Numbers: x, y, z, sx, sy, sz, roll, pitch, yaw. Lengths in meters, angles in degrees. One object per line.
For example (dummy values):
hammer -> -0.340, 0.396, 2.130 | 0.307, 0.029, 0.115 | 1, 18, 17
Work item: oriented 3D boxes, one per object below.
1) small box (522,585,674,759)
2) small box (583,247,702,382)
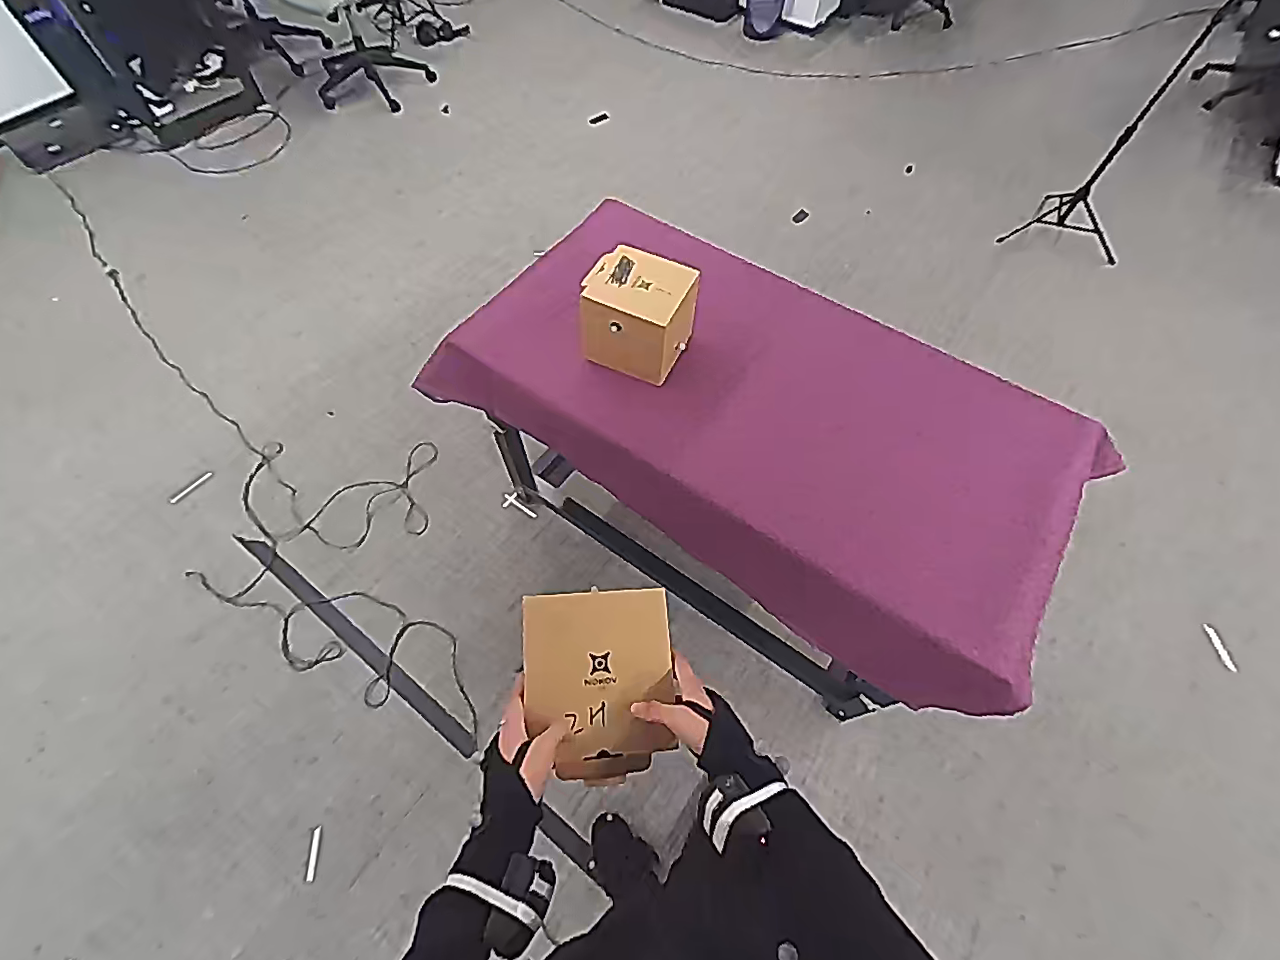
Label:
small box -> -0.060, 0.232, 0.672 | 0.168, 0.176, 0.179 | -1, 73, -9
small box -> 0.004, -0.324, 1.080 | 0.179, 0.176, 0.168 | 24, 63, 11
